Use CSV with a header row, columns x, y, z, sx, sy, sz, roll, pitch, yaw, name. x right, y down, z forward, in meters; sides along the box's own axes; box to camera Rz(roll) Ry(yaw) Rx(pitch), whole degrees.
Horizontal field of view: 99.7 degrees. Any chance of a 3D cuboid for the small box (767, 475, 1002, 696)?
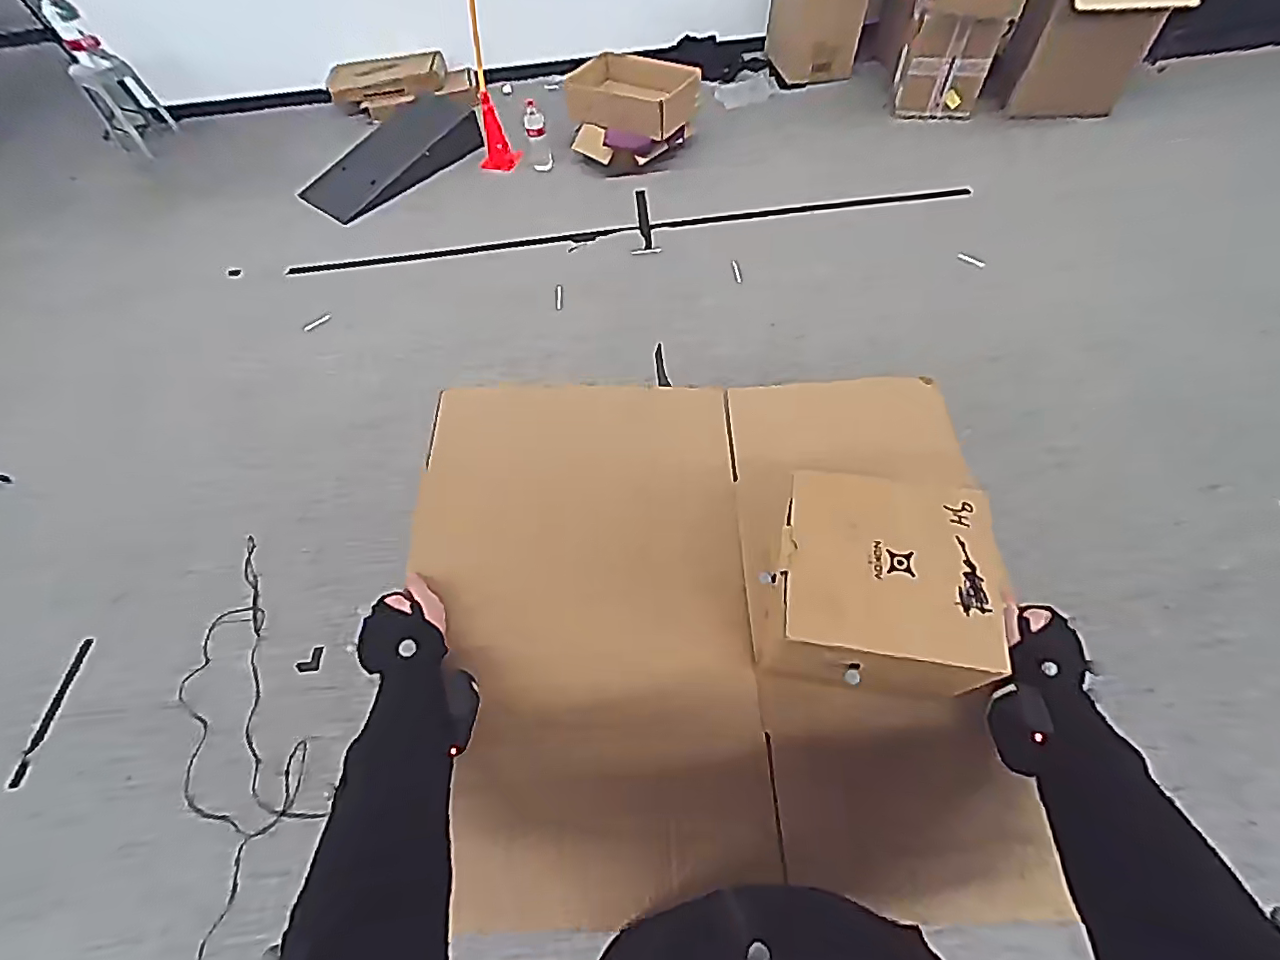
x,y,z,sx,sy,sz,roll,pitch,yaw,name
0.227,0.112,0.550,0.179,0.176,0.168,6,61,11,small box
